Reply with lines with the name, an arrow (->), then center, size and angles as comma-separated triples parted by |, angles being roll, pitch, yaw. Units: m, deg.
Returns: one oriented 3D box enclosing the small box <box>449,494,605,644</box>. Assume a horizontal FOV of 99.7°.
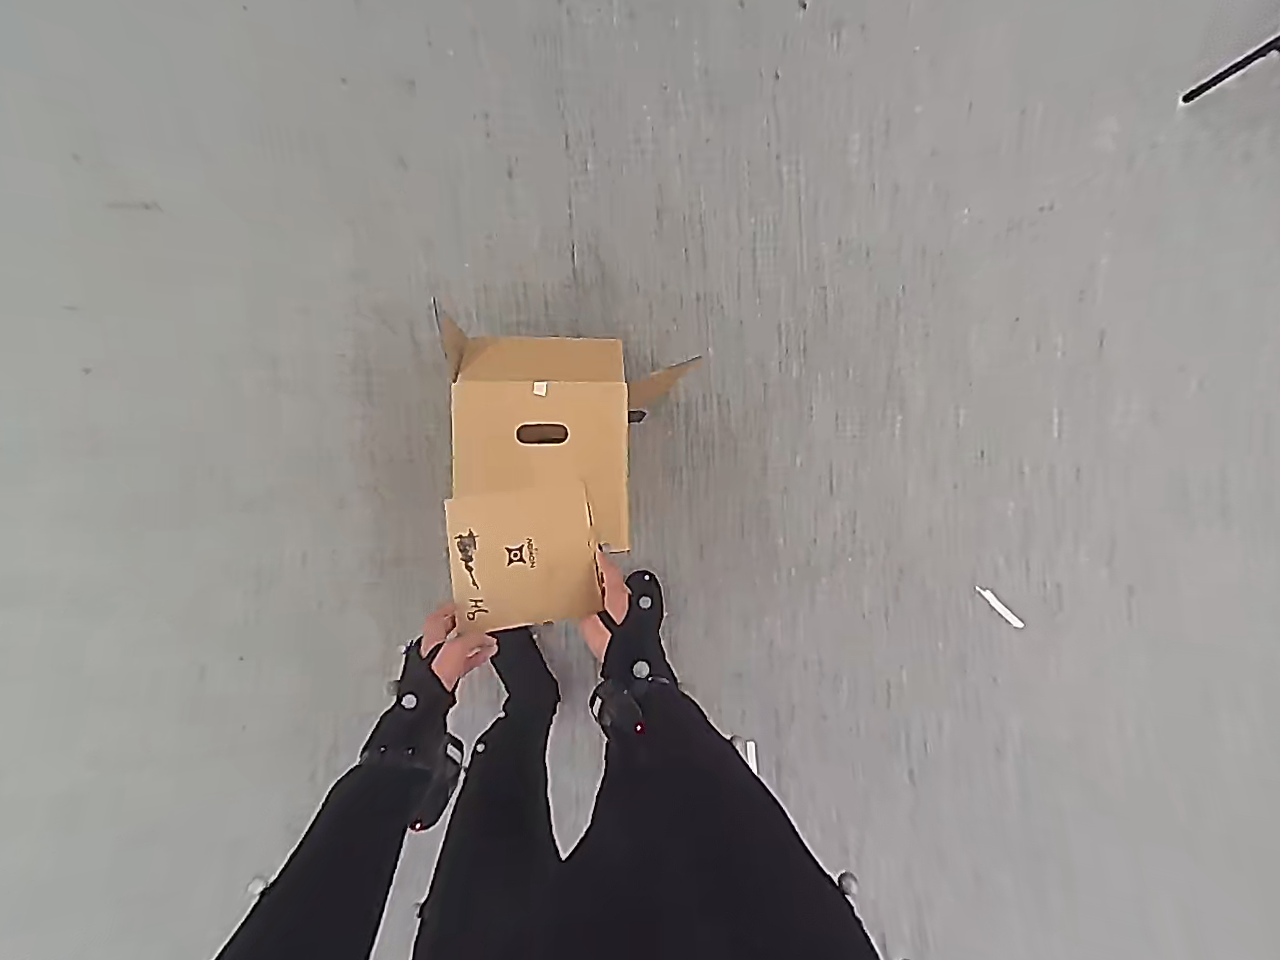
small box -> -0.142, 0.120, 0.736 | 0.179, 0.176, 0.168 | -8, 79, -3
